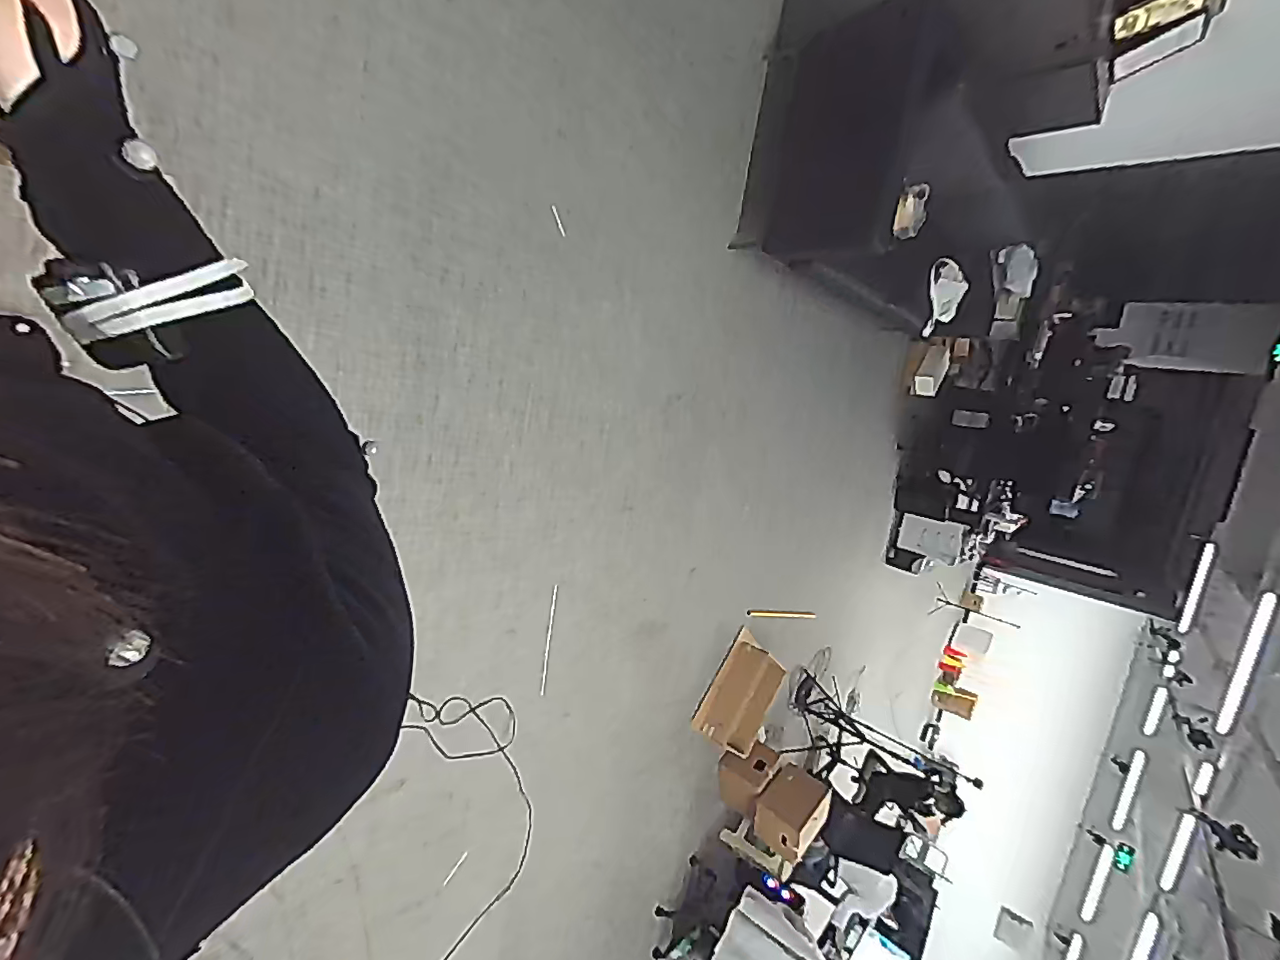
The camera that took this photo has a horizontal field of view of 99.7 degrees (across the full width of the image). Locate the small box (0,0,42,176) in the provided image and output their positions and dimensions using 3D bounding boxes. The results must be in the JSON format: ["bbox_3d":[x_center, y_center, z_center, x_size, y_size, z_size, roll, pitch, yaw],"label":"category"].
[{"bbox_3d":[-0.436,-0.290,0.278,0.168,0.176,0.179,1,102,-46],"label":"small box"}]
